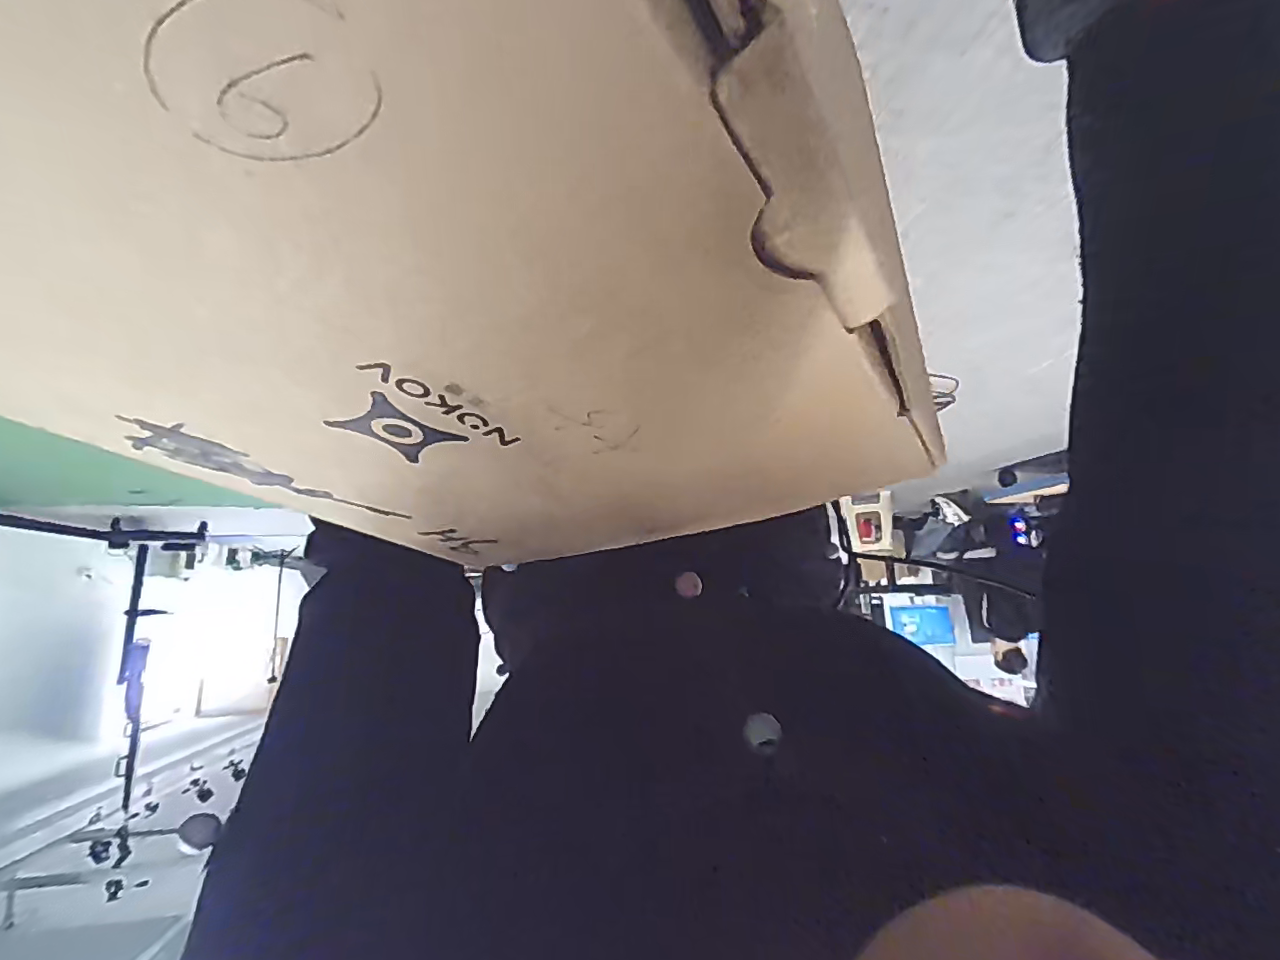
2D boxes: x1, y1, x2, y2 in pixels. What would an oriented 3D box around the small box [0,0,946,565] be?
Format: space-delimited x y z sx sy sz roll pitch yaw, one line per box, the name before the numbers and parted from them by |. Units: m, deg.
small box | -0.041 -0.088 0.151 0.179 0.176 0.168 -16 148 34
